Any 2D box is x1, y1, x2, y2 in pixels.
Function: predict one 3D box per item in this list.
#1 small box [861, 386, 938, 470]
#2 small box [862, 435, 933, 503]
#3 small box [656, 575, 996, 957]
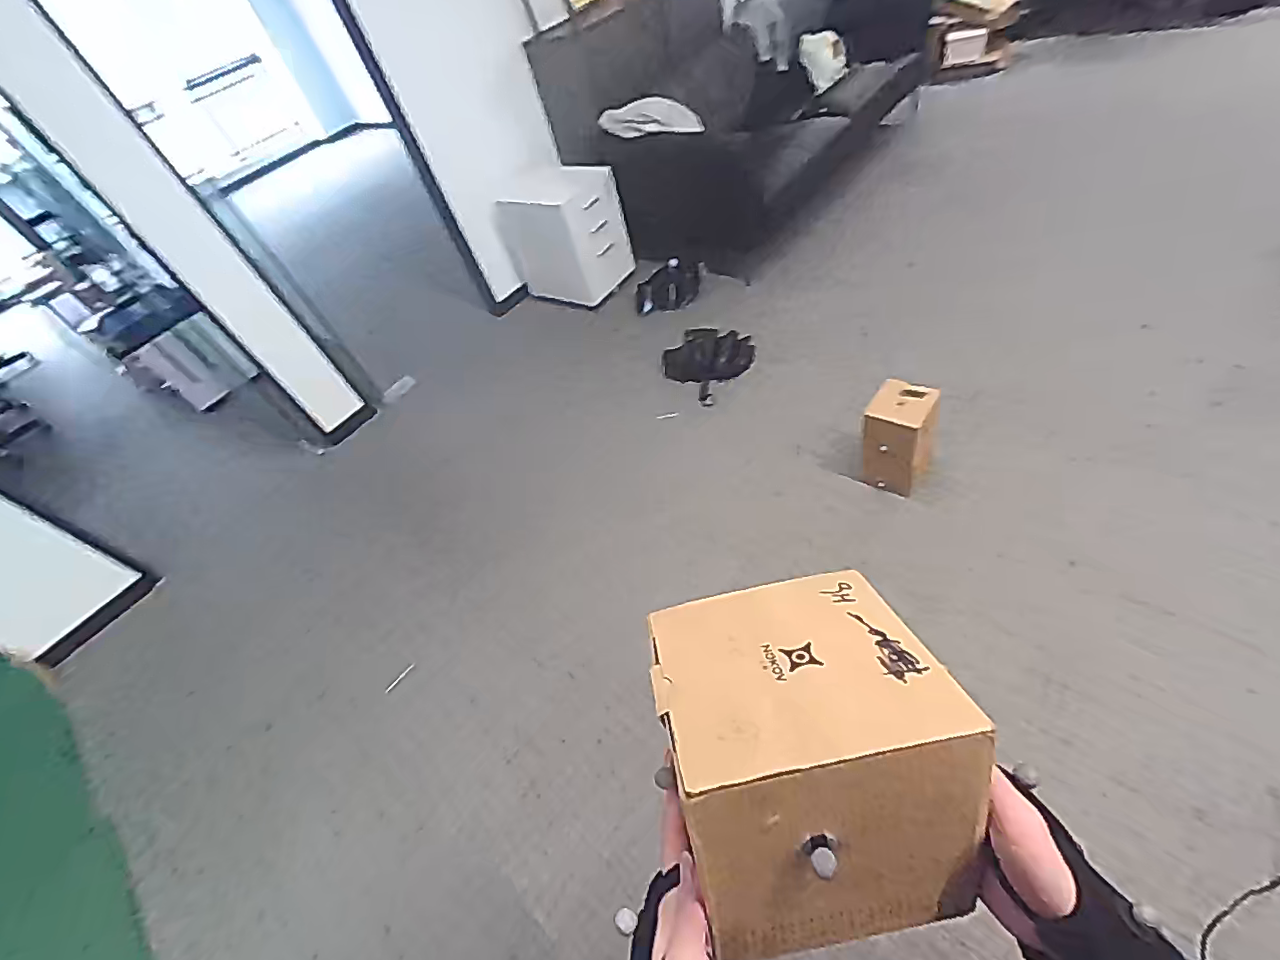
[{"bbox_3d":[0.807,-0.163,1.700,0.168,0.176,0.179,24,61,35],"label":"small box"},{"bbox_3d":[0.857,-0.056,1.816,0.168,0.176,0.179,22,61,34],"label":"small box"},{"bbox_3d":[0.117,0.196,0.391,0.179,0.176,0.168,-10,23,-1],"label":"small box"}]
